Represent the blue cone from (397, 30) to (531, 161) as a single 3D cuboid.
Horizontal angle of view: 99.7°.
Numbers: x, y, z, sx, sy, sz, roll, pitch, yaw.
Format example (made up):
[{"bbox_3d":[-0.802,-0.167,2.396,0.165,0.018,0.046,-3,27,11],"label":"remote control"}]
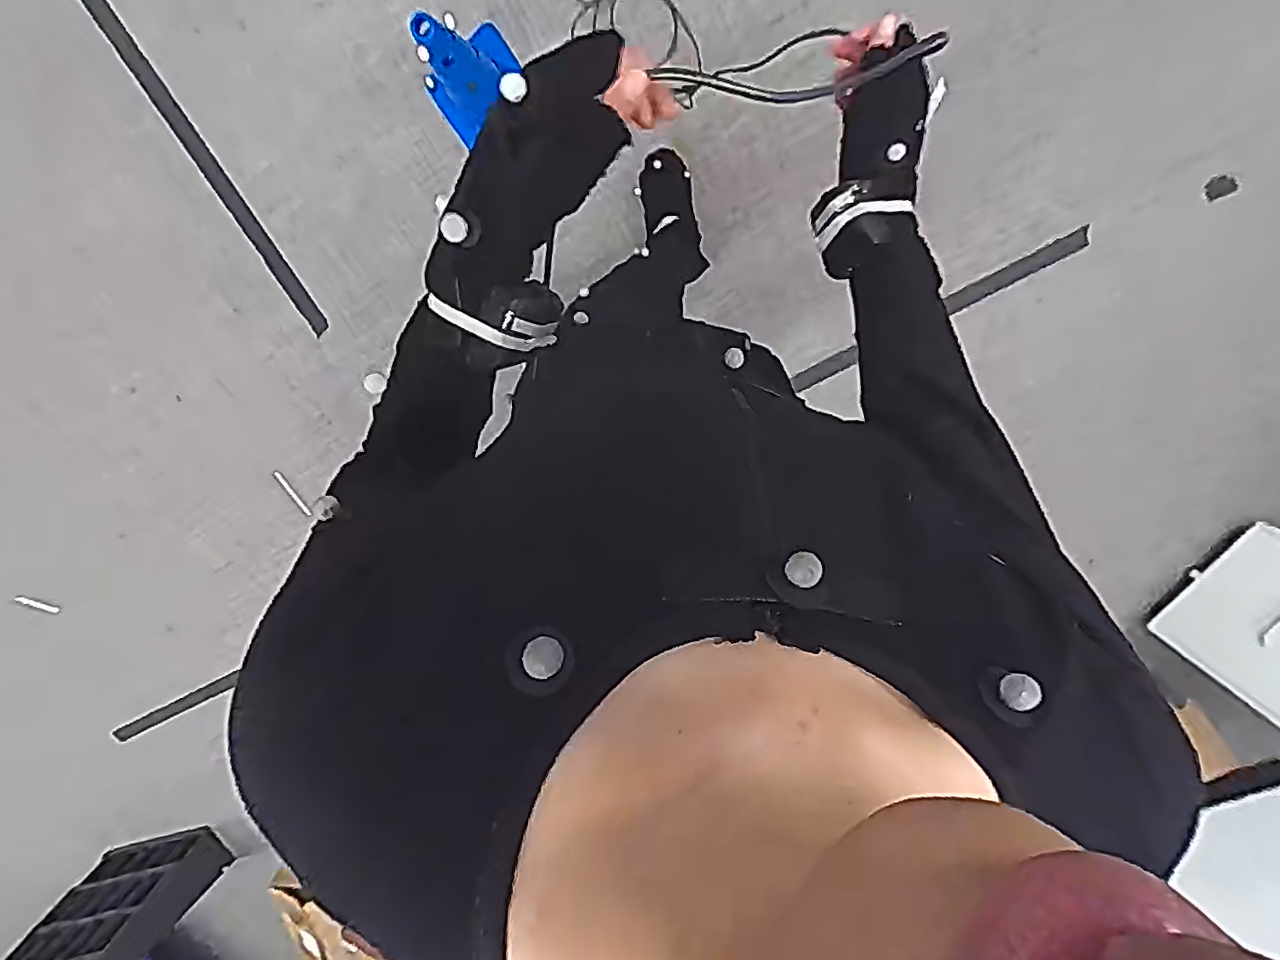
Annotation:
[{"bbox_3d":[-0.361,-0.778,1.040,0.192,0.380,0.193,-31,107,13],"label":"blue cone"}]
